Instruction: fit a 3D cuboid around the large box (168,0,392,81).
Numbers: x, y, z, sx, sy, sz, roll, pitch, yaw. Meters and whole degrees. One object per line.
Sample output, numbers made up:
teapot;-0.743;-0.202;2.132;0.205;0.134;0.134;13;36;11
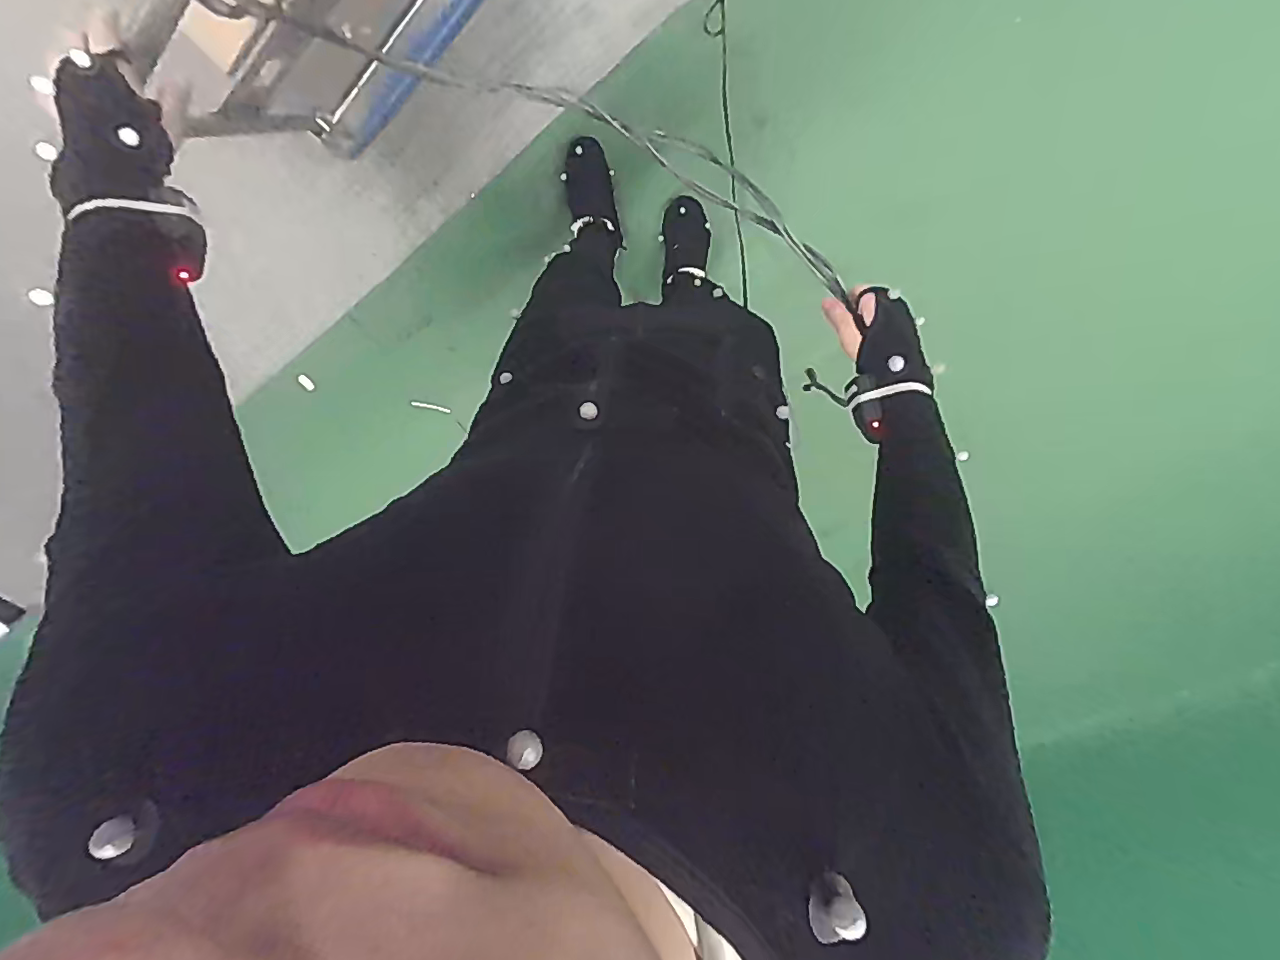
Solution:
large box;-0.639;-0.939;0.847;0.320;0.320;0.408;-34;115;21
